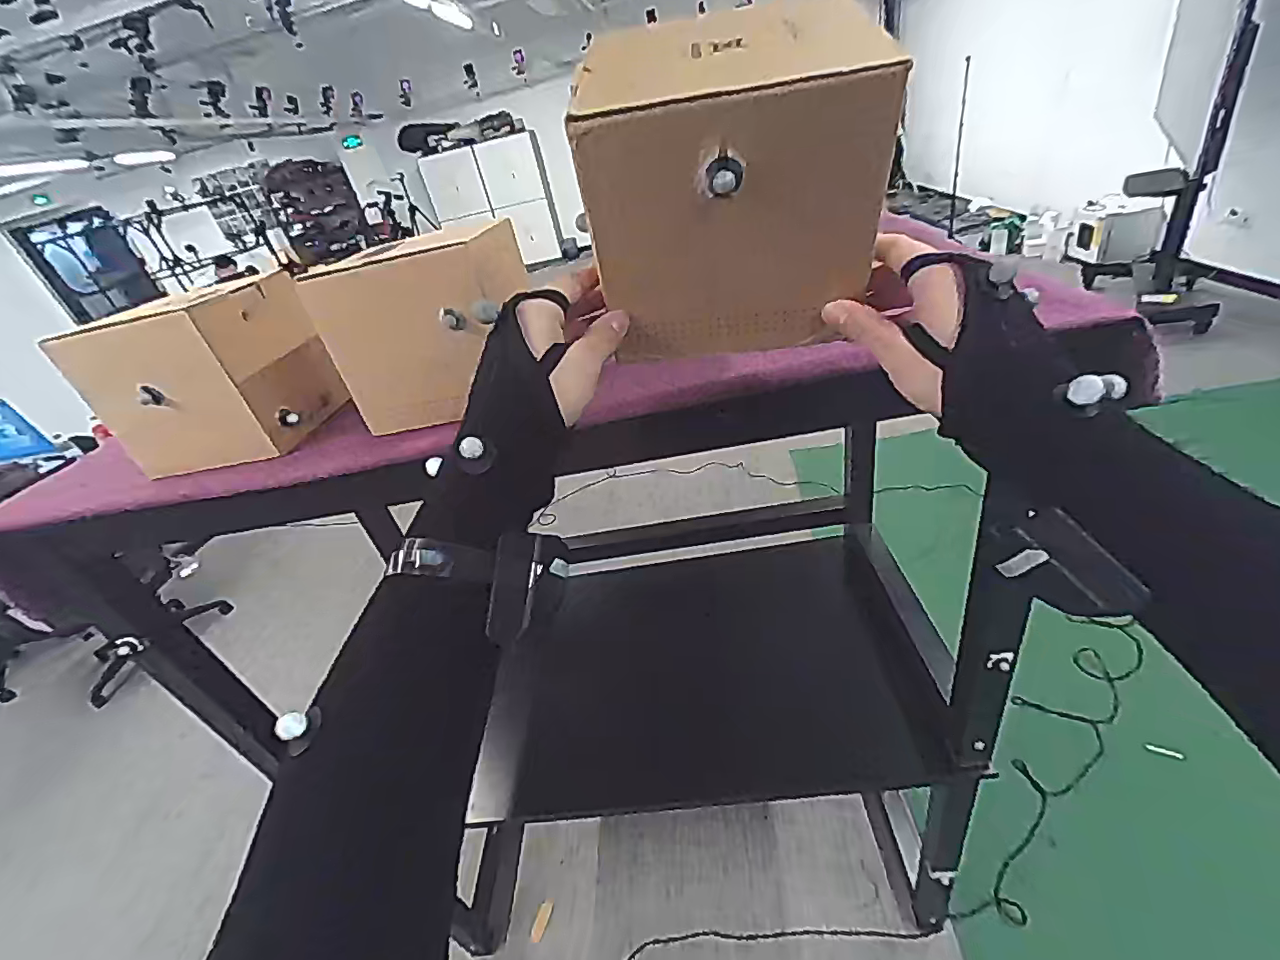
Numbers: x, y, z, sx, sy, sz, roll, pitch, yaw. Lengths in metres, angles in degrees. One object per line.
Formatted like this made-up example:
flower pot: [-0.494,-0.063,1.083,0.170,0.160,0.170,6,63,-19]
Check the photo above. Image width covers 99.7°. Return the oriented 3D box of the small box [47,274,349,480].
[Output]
small box: [-0.484,-0.119,0.630,0.179,0.176,0.168,-9,32,9]

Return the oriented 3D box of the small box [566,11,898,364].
small box: [0.061,-0.200,0.390,0.179,0.176,0.168,-4,50,8]
